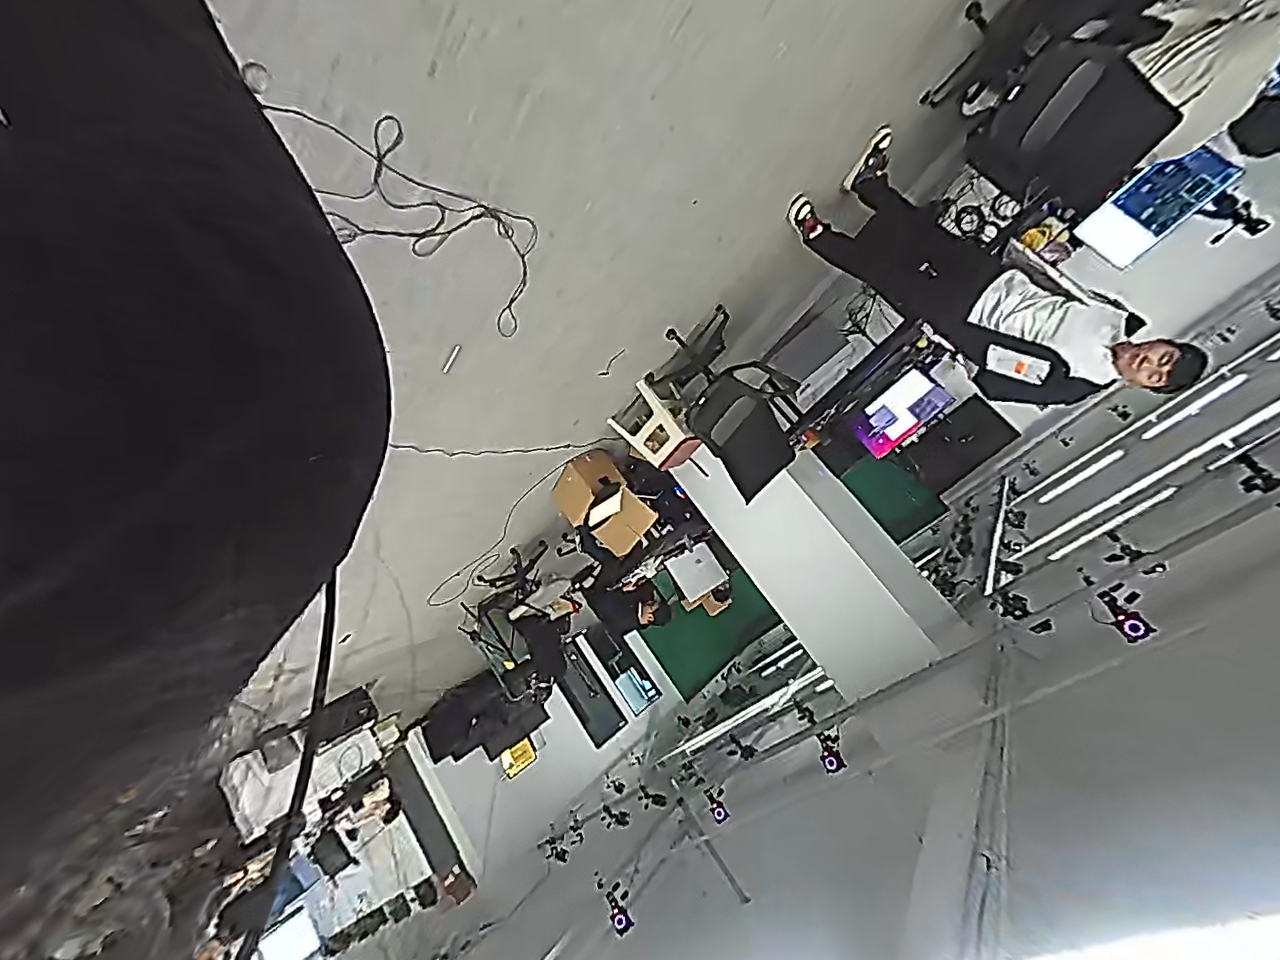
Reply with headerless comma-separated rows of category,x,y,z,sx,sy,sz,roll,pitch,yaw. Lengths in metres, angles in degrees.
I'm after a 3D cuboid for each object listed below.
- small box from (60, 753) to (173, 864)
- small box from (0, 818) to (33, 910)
small box,-1.404,0.874,1.452,0.168,0.176,0.179,-47,162,31
small box,-1.564,0.925,1.249,0.179,0.176,0.168,-43,163,22
